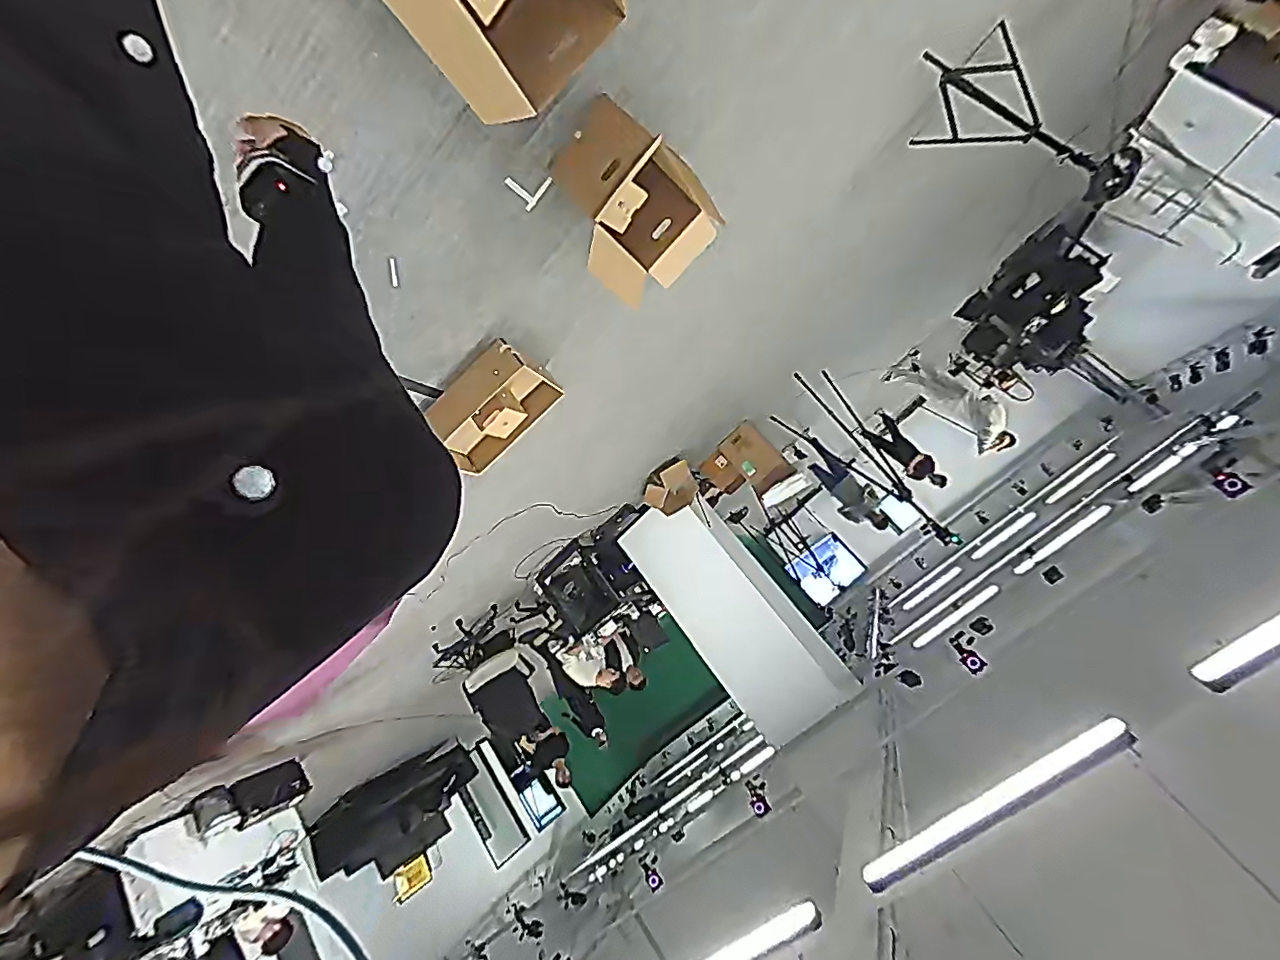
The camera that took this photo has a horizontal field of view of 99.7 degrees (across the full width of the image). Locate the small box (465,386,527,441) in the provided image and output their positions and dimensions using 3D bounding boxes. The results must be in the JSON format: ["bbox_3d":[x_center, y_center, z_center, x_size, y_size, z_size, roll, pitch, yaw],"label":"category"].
[{"bbox_3d":[-0.660,-0.304,2.462,0.168,0.176,0.179,-43,161,14],"label":"small box"}]
